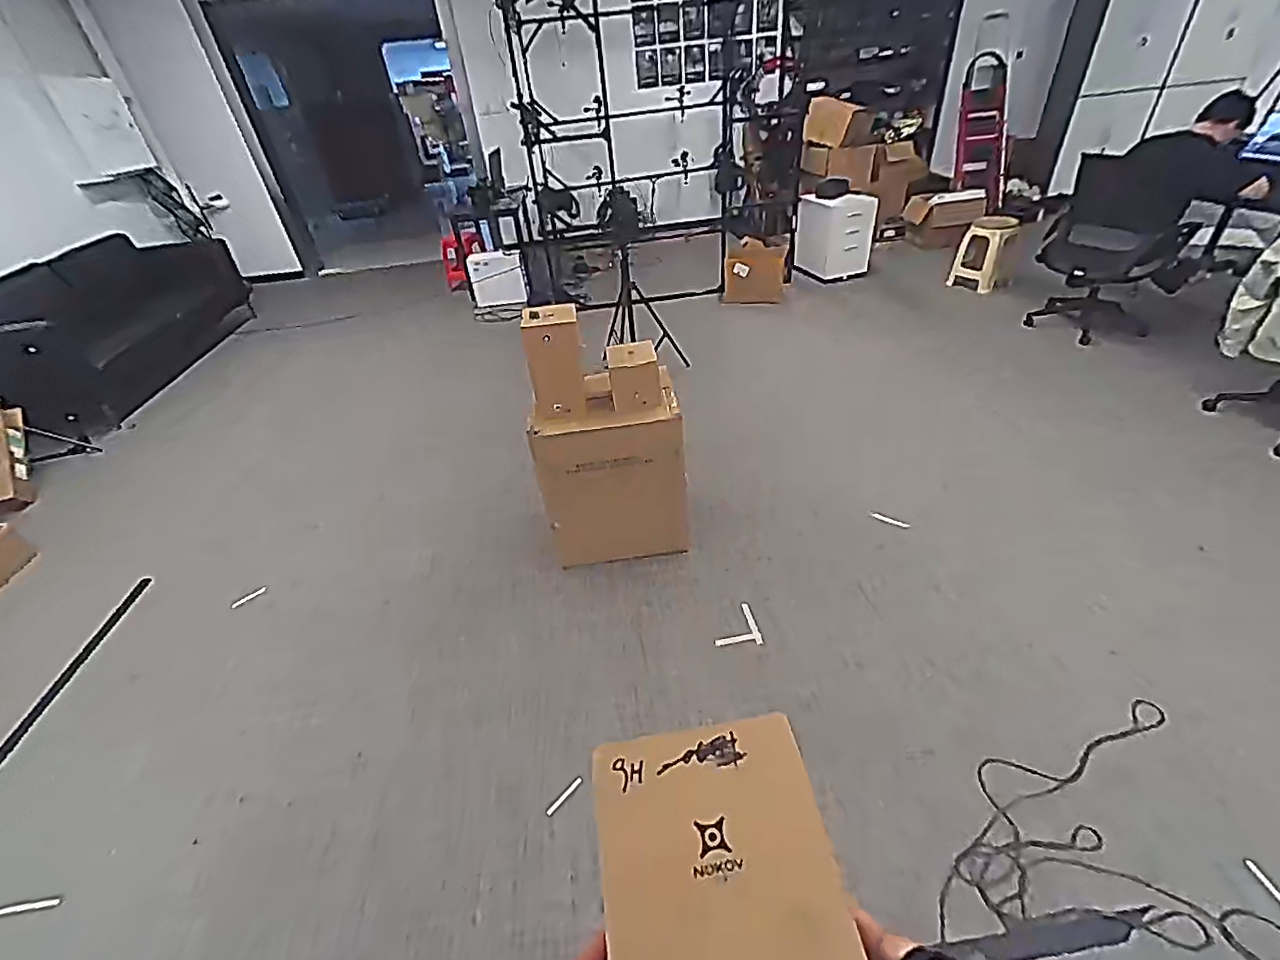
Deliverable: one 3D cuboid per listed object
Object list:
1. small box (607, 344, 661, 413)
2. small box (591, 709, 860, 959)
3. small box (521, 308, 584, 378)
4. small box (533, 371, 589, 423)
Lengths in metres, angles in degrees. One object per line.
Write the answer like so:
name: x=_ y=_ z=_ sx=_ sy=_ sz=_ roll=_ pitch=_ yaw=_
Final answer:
small box: x=-0.022 y=-0.353 z=1.885 sx=0.168 sy=0.176 sz=0.179 roll=-9 pitch=38 yaw=0
small box: x=0.058 y=0.321 z=0.451 sx=0.168 sy=0.176 sz=0.179 roll=-9 pitch=47 yaw=-3
small box: x=-0.285 y=-0.448 z=1.782 sx=0.179 sy=0.176 sz=0.168 roll=-7 pitch=37 yaw=-3
small box: x=-0.273 y=-0.320 z=1.883 sx=0.168 sy=0.176 sz=0.179 roll=-8 pitch=39 yaw=-2
